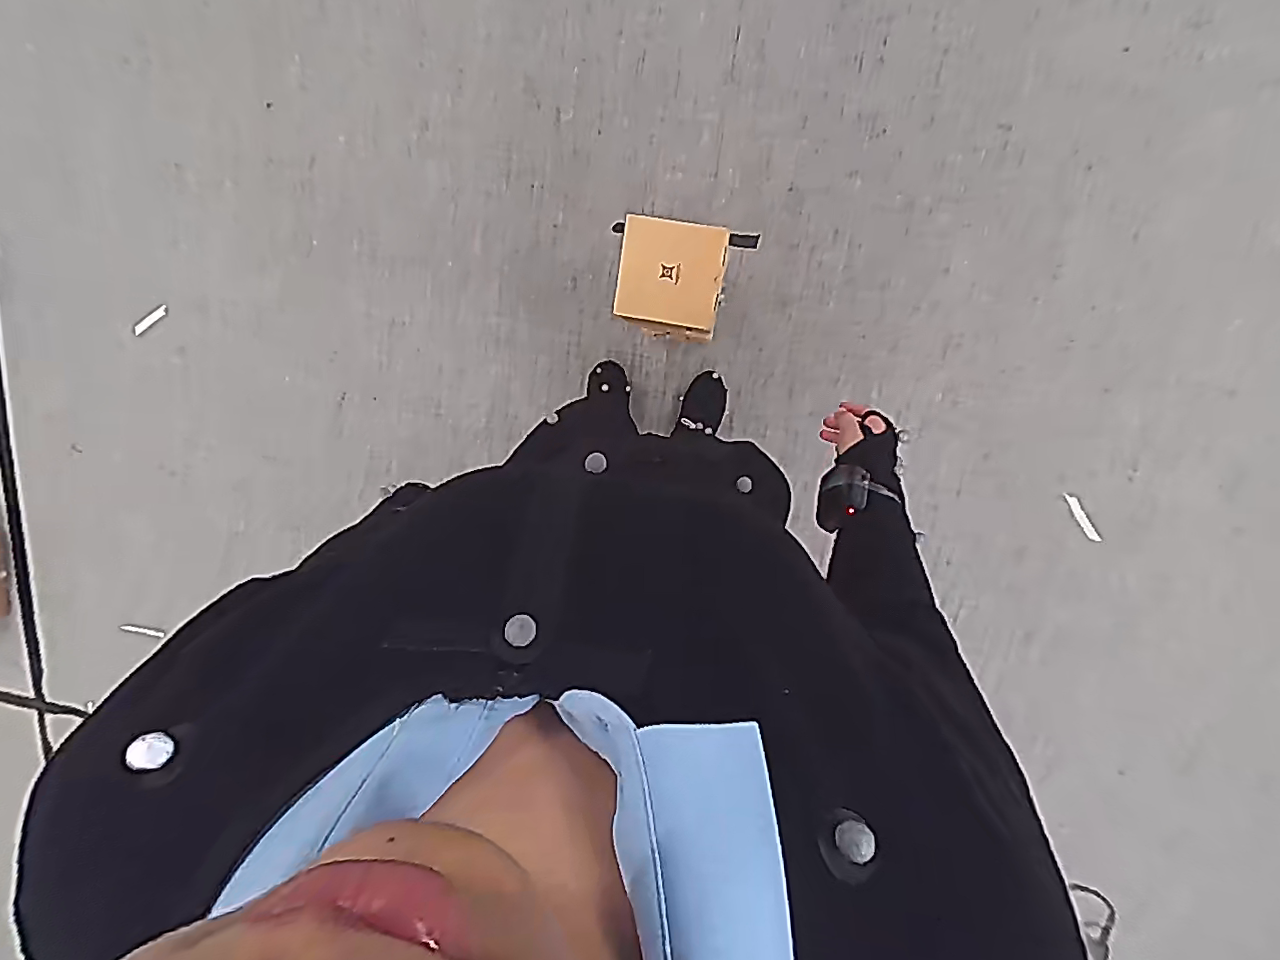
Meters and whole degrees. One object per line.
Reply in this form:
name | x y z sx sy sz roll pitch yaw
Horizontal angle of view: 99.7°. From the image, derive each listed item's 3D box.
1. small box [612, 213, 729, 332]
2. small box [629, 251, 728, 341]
small box | 0.057 -0.367 0.985 0.179 0.176 0.168 10 104 4
small box | 0.083 -0.398 1.143 0.168 0.176 0.179 14 103 2
